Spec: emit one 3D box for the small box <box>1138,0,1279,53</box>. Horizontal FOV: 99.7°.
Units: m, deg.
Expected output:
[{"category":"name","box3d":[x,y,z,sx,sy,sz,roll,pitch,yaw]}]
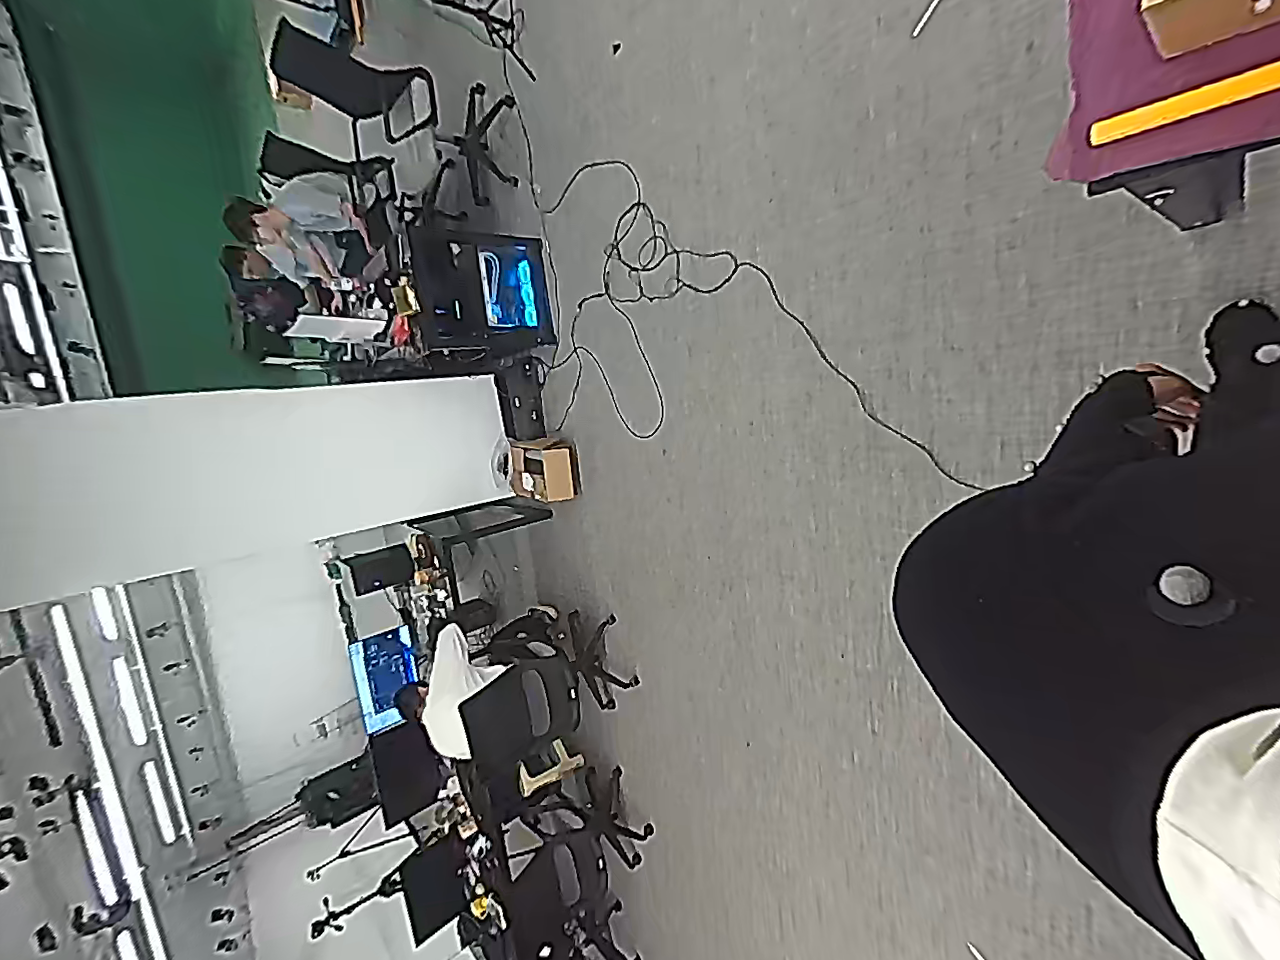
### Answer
[{"category":"small box","box3d":[0.587,-0.533,0.486,0.179,0.176,0.168,10,109,49]}]
